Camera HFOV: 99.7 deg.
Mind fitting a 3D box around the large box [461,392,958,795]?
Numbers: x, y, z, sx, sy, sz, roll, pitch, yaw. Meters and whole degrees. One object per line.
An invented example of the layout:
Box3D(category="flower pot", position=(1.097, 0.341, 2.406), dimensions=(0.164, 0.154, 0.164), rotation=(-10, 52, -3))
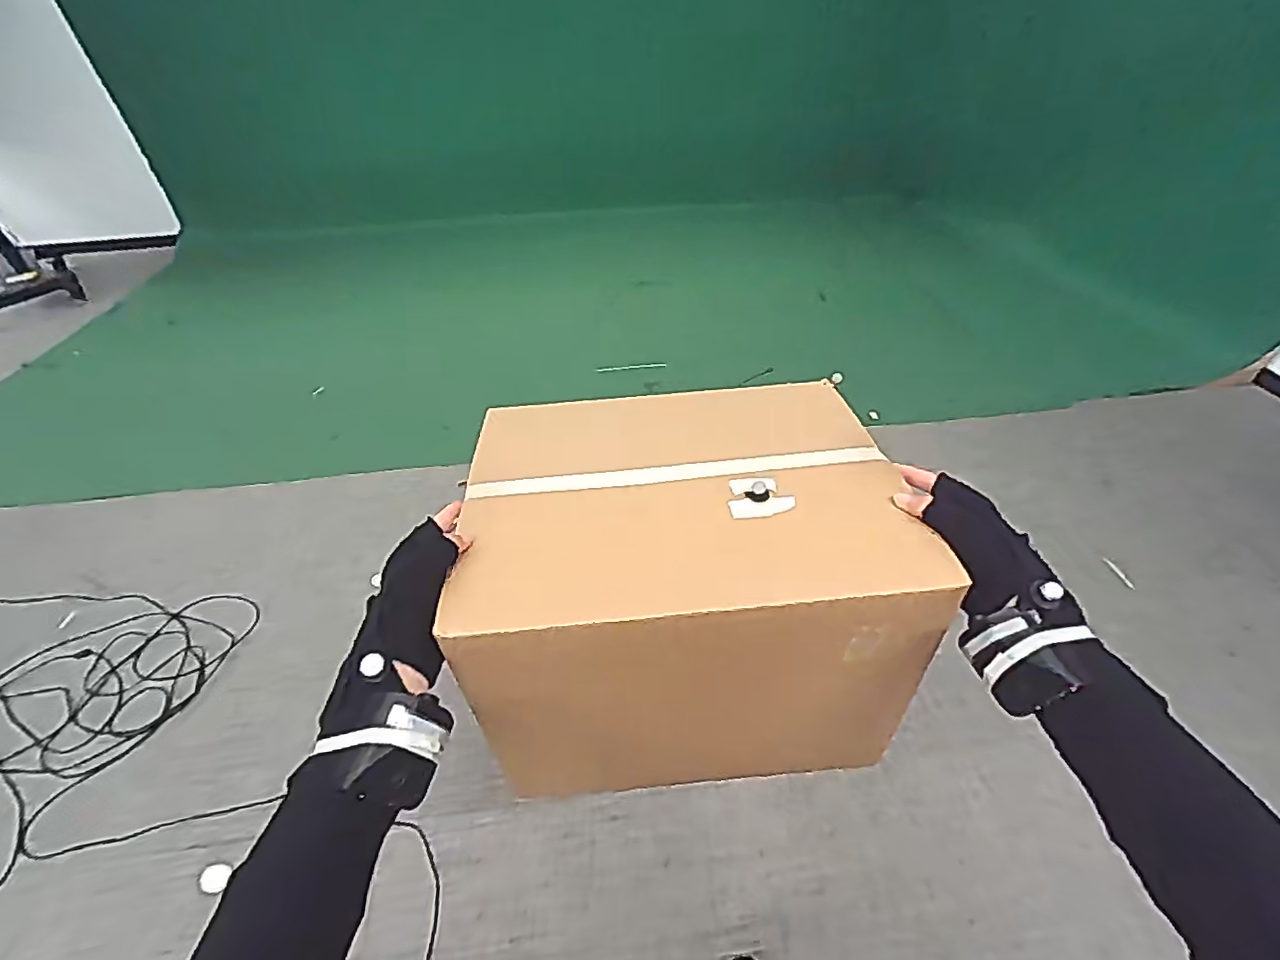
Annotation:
Box3D(category="large box", position=(0.049, 0.120, 0.625), dimensions=(0.408, 0.320, 0.320), rotation=(-5, 40, -2))
